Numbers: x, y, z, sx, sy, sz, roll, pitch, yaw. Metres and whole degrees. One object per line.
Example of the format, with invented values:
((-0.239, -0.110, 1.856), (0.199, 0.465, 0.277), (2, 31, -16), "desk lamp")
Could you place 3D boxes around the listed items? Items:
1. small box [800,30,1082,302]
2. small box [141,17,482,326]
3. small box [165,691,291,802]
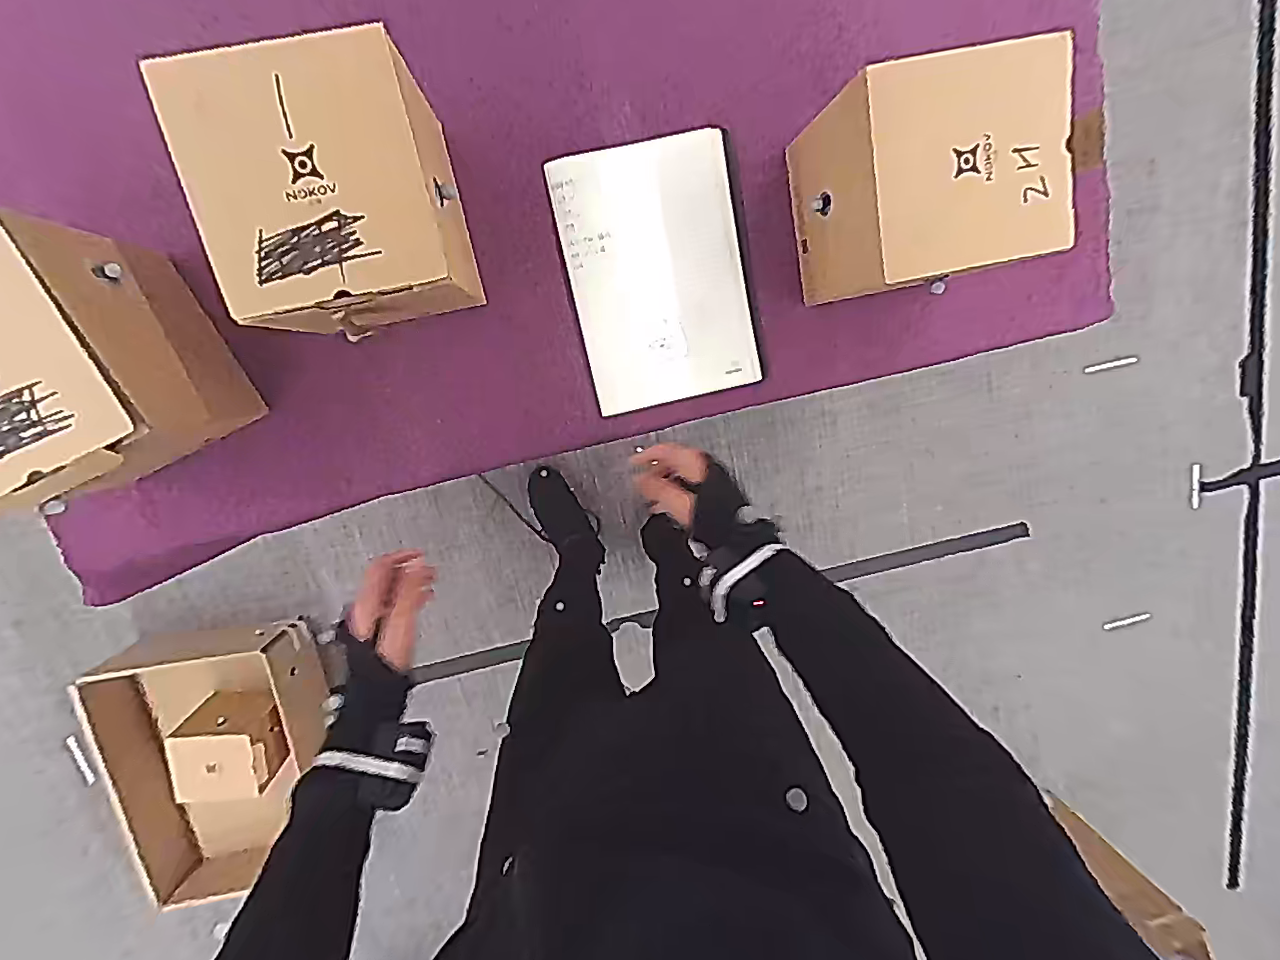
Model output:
((0.264, -0.272, 0.510), (0.179, 0.176, 0.168), (-12, 103, -4), "small box")
((-0.246, -0.234, 0.461), (0.168, 0.176, 0.179), (-13, 102, -4), "small box")
((-0.943, 0.611, 1.258), (0.179, 0.176, 0.168), (0, 102, -7), "small box")
